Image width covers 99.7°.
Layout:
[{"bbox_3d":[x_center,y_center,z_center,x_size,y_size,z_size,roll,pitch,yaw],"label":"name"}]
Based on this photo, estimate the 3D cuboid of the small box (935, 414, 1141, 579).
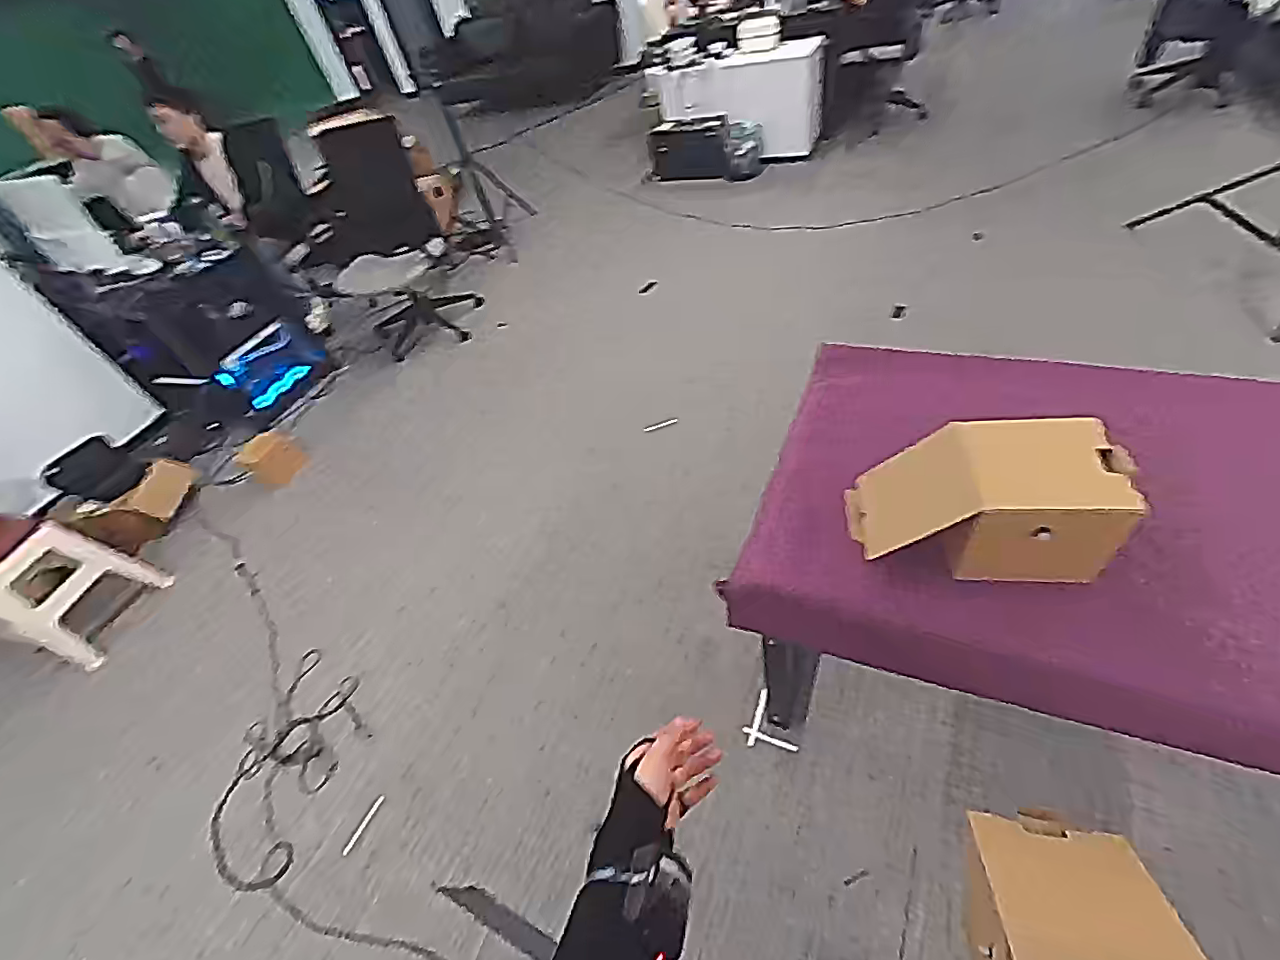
[{"bbox_3d":[0.530,0.027,0.758,0.179,0.176,0.168,0,49,14],"label":"small box"}]
